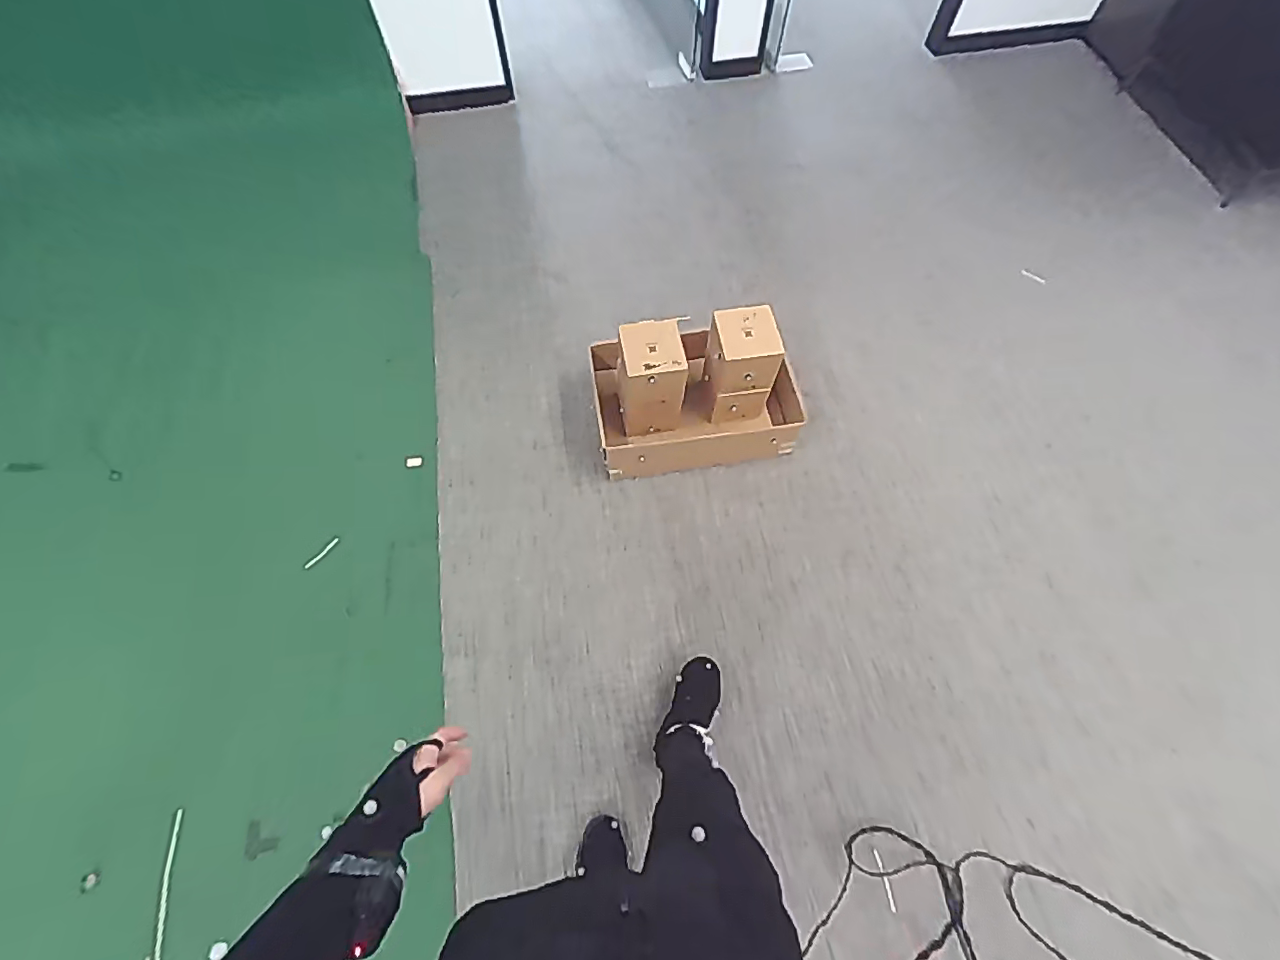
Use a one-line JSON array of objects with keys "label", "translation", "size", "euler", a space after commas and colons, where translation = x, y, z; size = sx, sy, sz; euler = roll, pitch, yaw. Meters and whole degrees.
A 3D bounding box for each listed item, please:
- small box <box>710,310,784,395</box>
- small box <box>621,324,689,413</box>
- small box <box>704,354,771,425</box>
[{"label": "small box", "translation": [0.303, -0.361, 1.563], "size": [0.168, 0.176, 0.179], "euler": [-7, 65, -3]}, {"label": "small box", "translation": [0.037, -0.314, 1.537], "size": [0.168, 0.176, 0.179], "euler": [-9, 65, -5]}, {"label": "small box", "translation": [0.303, -0.287, 1.711], "size": [0.168, 0.176, 0.179], "euler": [-8, 65, -3]}]
